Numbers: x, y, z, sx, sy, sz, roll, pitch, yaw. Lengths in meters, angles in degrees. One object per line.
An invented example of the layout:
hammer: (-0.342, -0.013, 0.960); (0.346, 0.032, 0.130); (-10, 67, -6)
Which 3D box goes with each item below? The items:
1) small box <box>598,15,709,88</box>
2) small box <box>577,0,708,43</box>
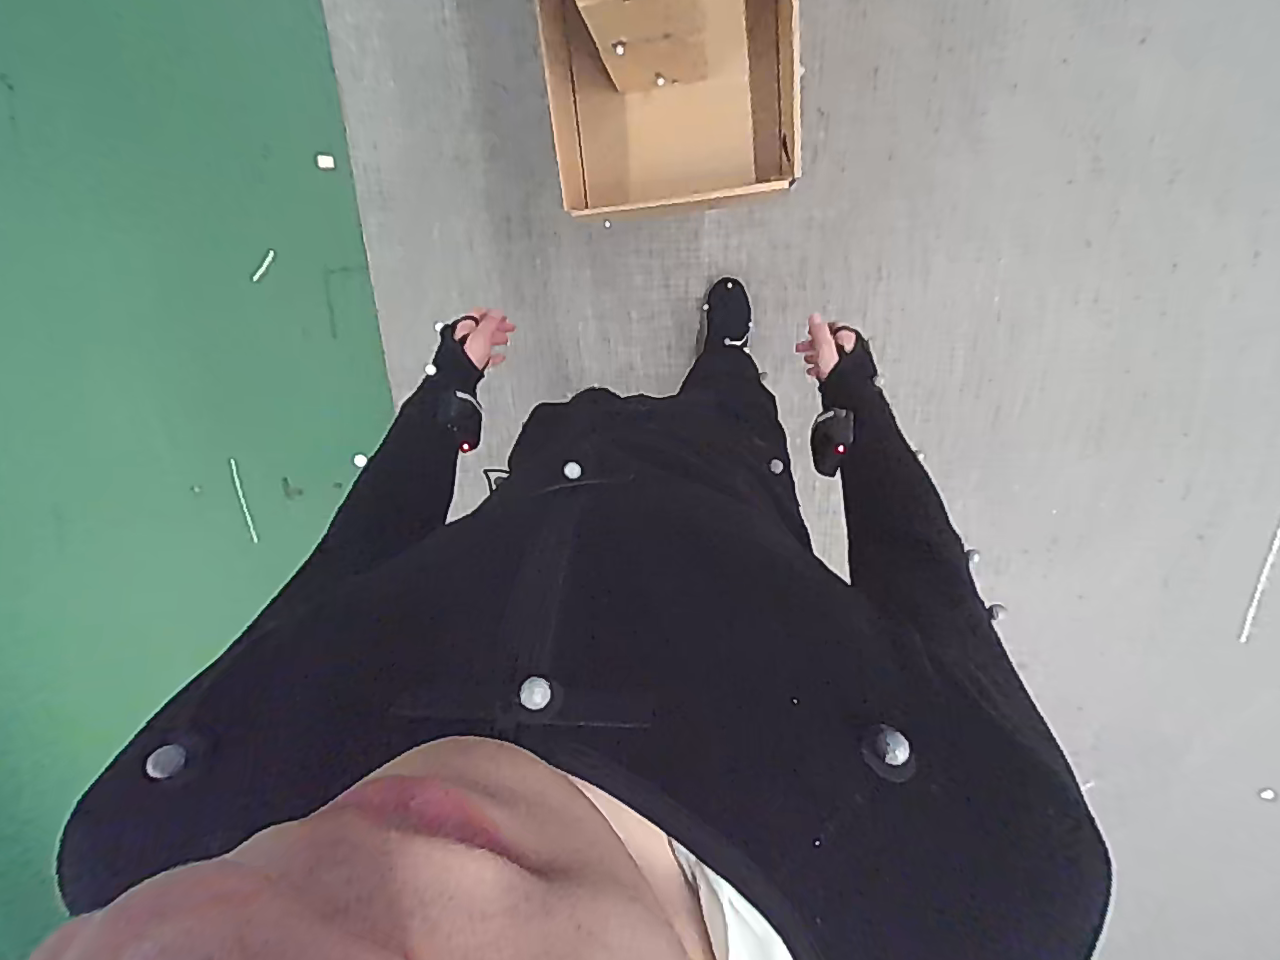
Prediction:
small box: (0.023, -0.763, 0.858); (0.168, 0.176, 0.179); (-2, 108, 10)
small box: (0.000, -0.712, 0.704); (0.168, 0.176, 0.179); (-5, 107, 10)
